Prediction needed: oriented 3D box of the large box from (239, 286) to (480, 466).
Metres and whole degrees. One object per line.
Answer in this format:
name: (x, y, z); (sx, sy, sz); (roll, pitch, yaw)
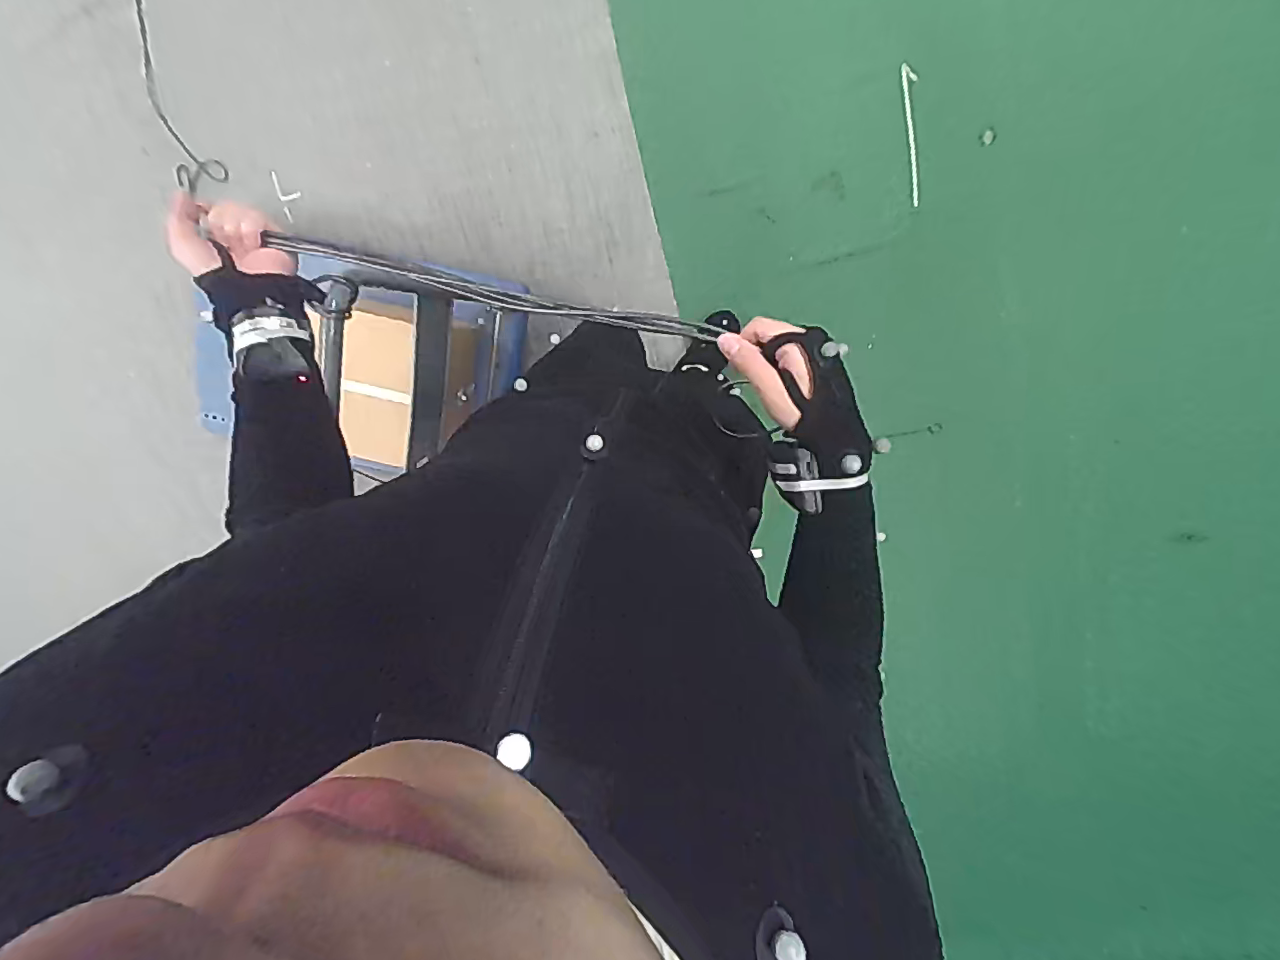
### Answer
large box: (-0.633, -0.255, 1.275); (0.408, 0.320, 0.320); (13, 107, 3)
